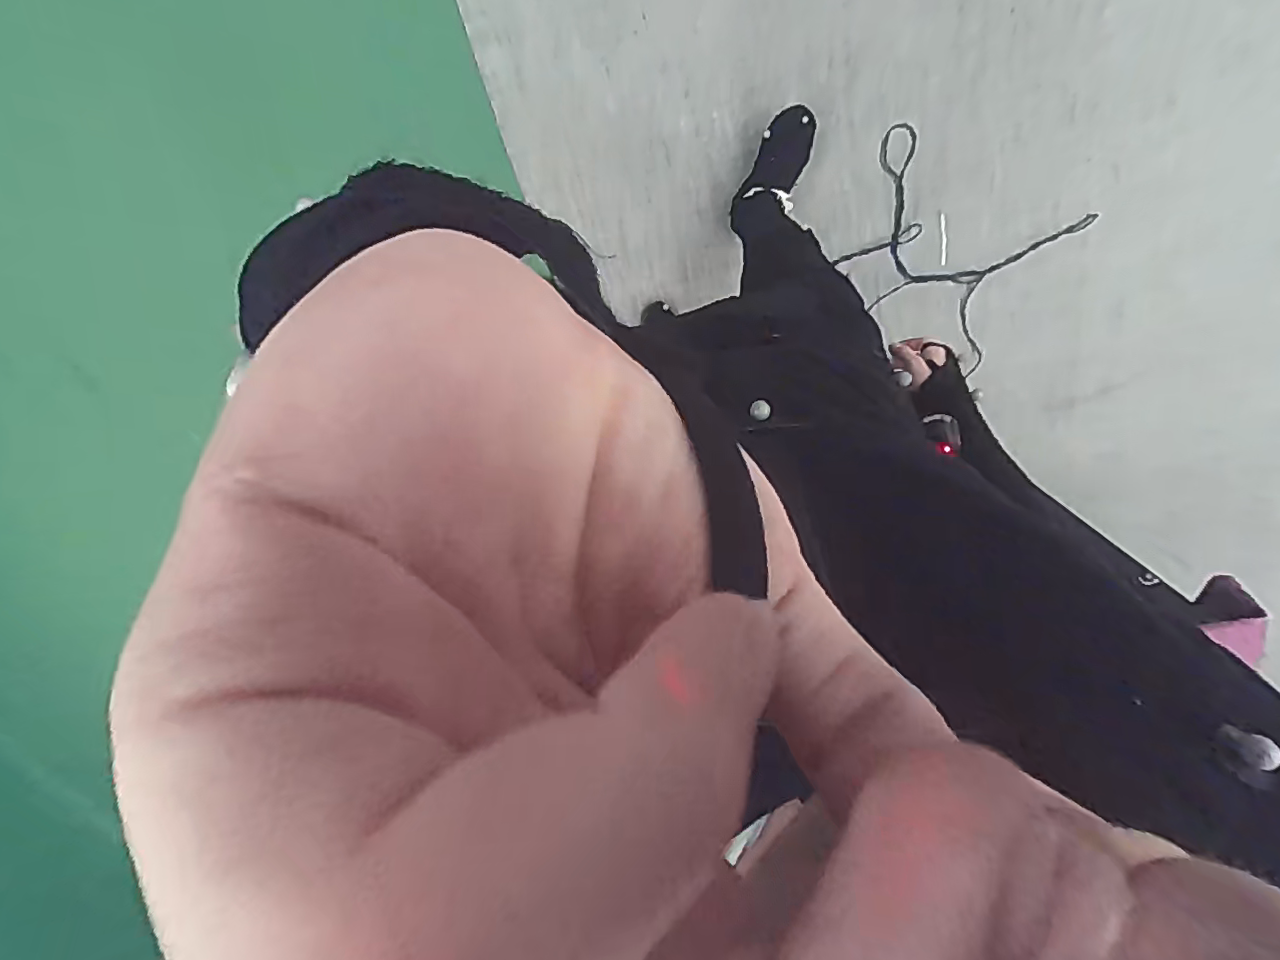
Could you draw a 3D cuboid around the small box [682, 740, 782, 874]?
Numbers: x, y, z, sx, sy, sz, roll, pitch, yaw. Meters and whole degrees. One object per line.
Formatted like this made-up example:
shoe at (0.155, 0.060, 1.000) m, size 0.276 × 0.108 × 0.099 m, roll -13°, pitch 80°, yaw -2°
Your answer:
small box at (0.190, 0.685, 1.139) m, size 0.168 × 0.176 × 0.179 m, roll -15°, pitch 116°, yaw 8°
